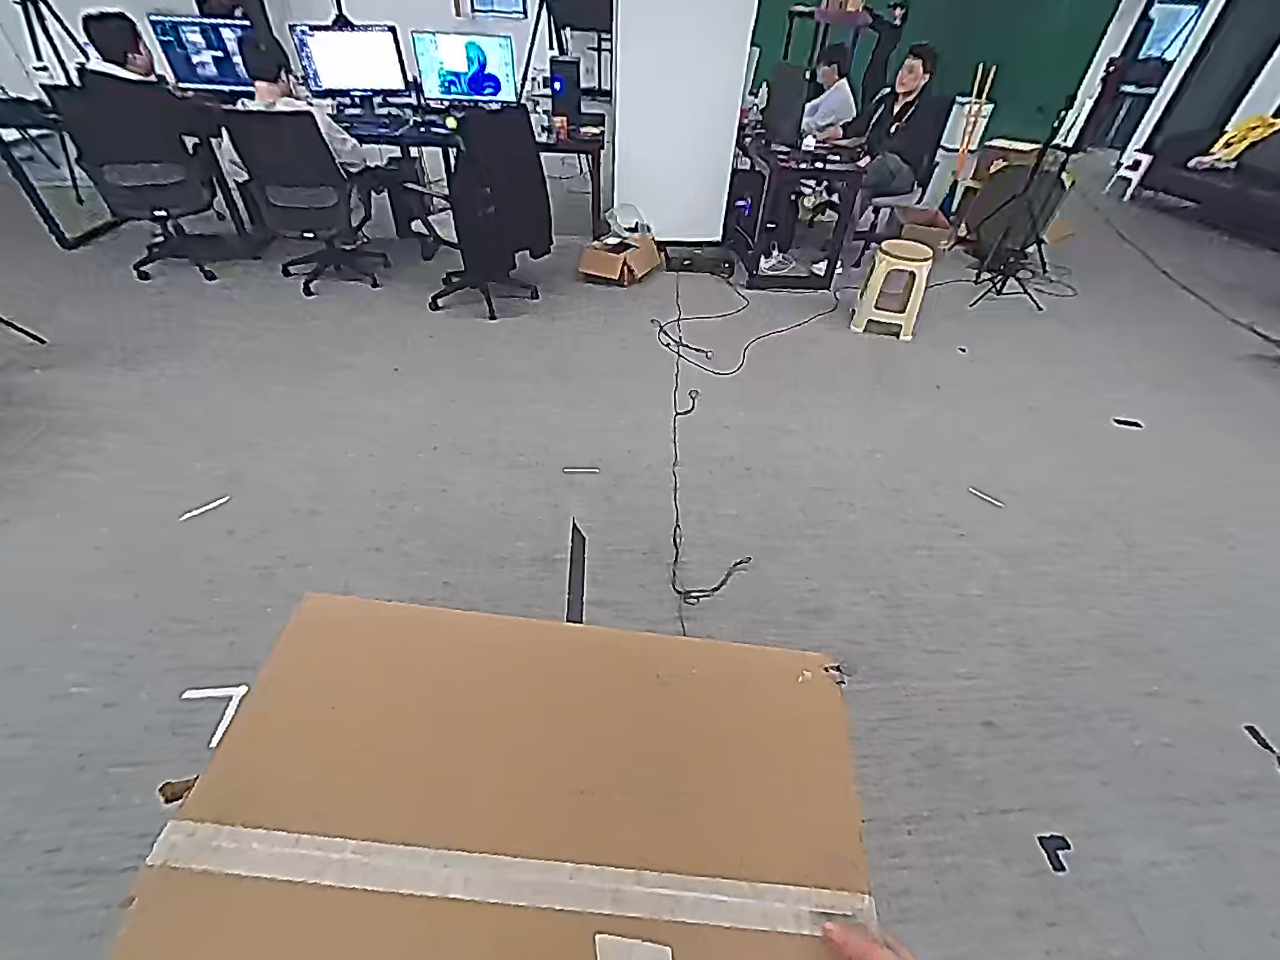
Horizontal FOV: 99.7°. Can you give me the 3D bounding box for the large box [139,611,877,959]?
[{"bbox_3d":[-0.075,0.331,0.430,0.408,0.320,0.320,7,51,-1],"label":"large box"}]
